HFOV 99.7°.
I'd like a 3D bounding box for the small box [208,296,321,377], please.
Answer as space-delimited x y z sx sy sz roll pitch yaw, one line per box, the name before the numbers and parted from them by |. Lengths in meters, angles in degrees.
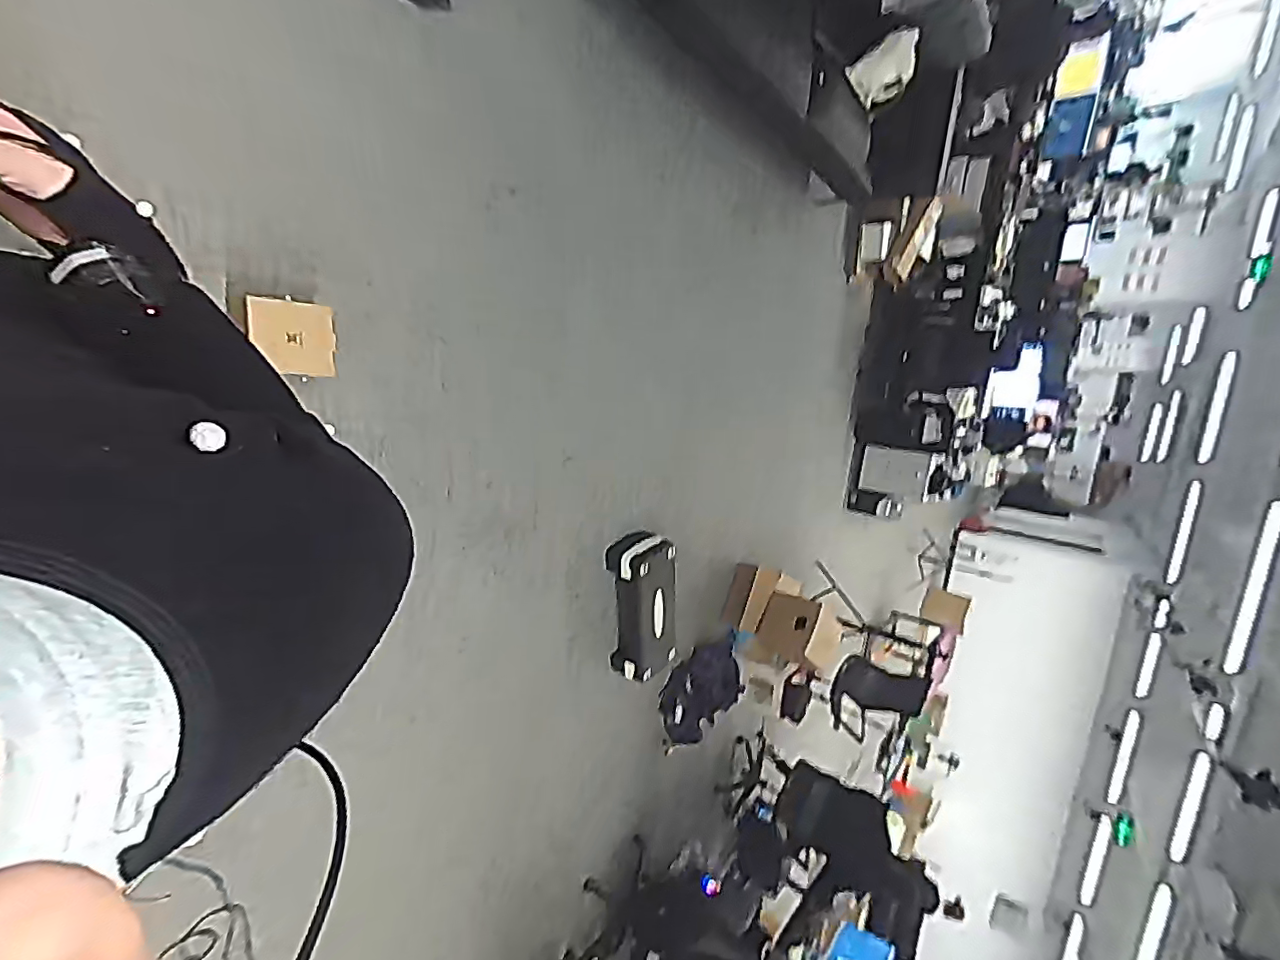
small box | -0.885 -0.336 1.278 0.179 0.176 0.168 -9 107 -50
